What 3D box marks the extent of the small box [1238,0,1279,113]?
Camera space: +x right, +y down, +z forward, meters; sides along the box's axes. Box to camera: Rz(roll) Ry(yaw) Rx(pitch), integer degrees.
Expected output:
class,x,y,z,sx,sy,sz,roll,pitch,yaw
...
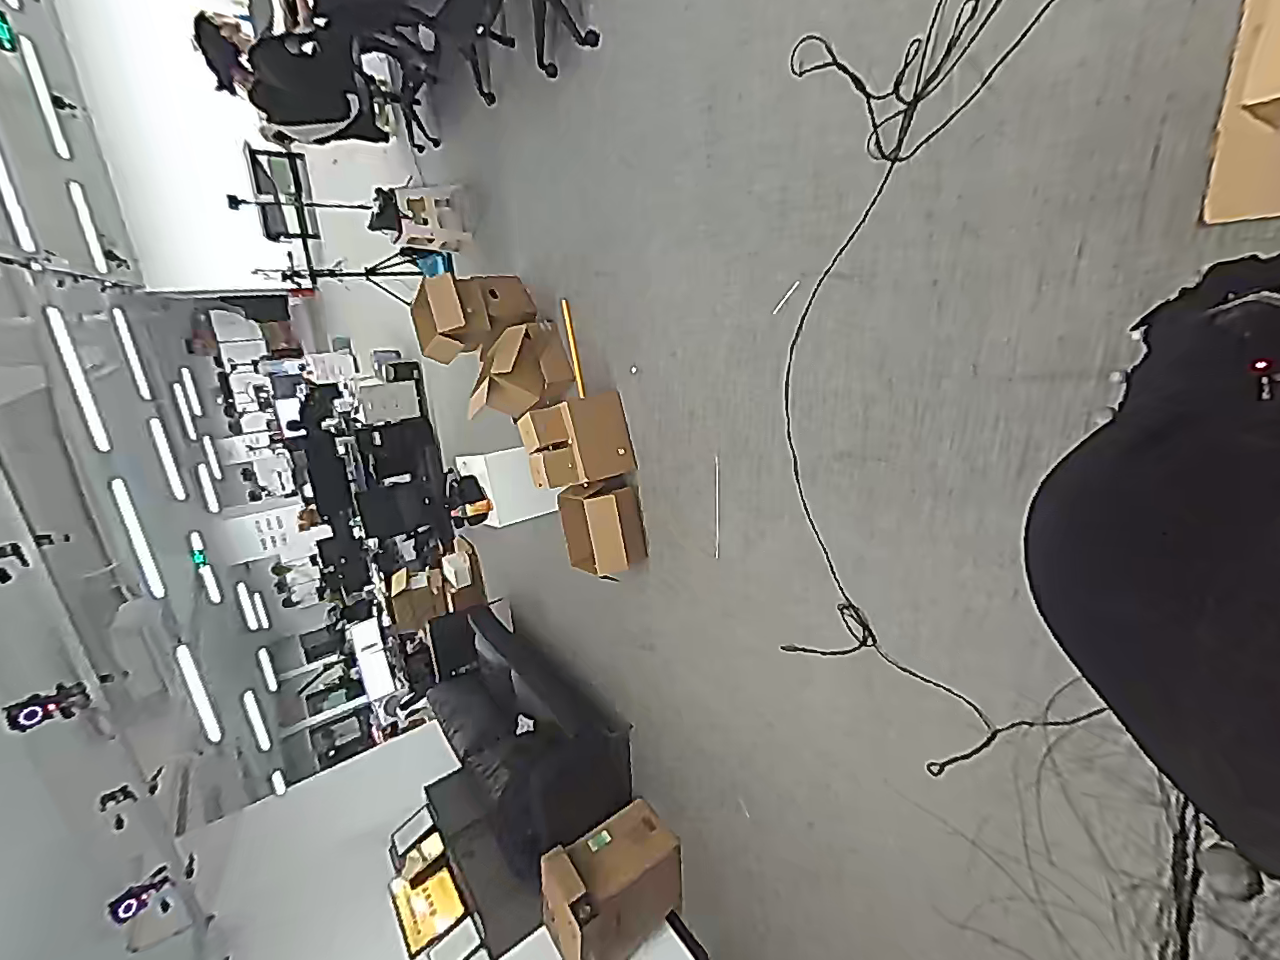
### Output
class,x,y,z,sx,sy,sz,roll,pitch,yaw
small box,0.927,-0.601,0.693,0.168,0.176,0.179,24,123,51
